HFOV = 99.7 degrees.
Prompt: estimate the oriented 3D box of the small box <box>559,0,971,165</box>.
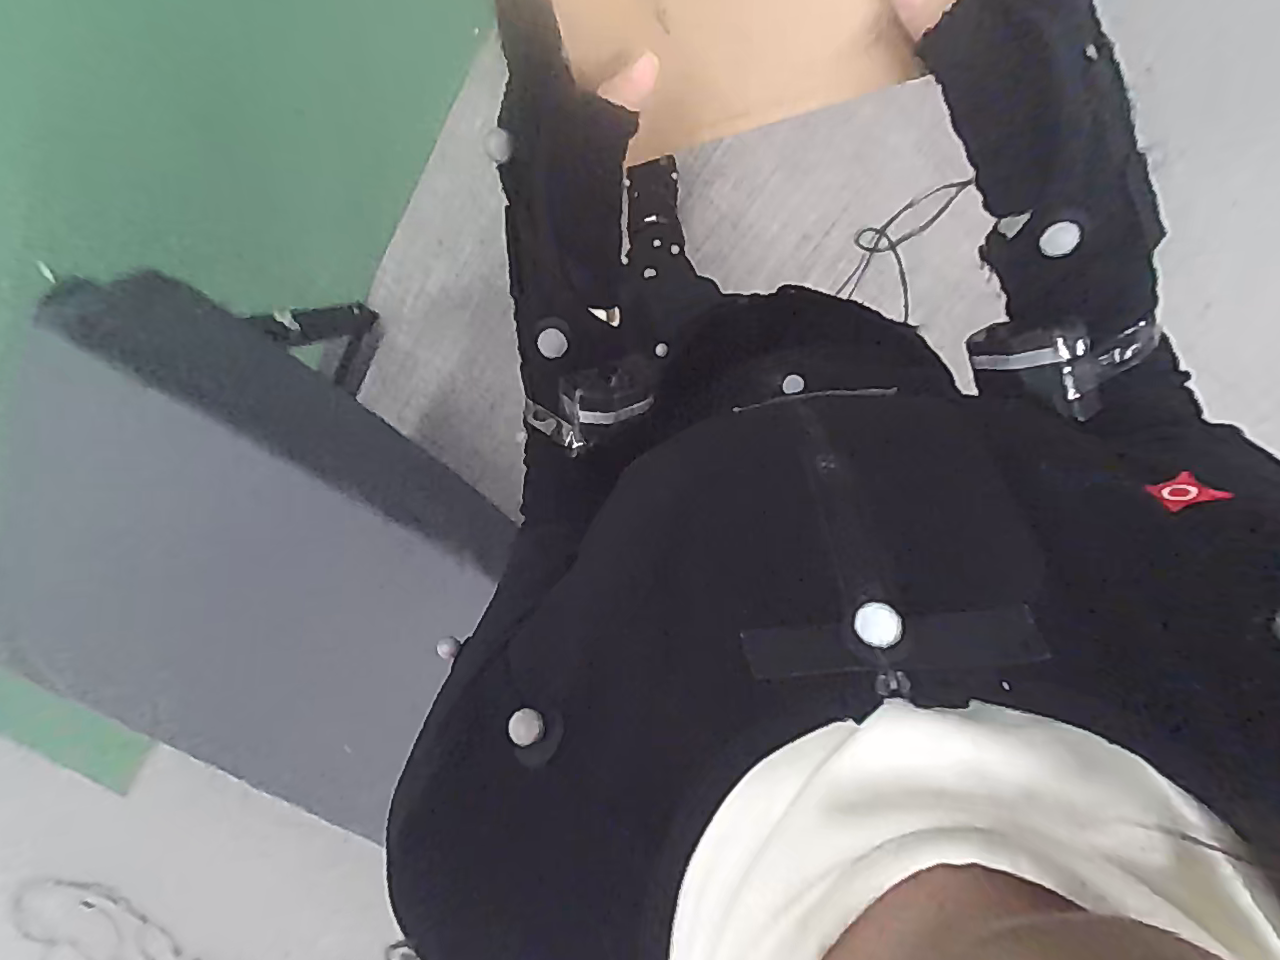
[{"bbox_3d":[0.046,-0.290,0.267,0.179,0.176,0.168,-10,133,12],"label":"small box"}]
